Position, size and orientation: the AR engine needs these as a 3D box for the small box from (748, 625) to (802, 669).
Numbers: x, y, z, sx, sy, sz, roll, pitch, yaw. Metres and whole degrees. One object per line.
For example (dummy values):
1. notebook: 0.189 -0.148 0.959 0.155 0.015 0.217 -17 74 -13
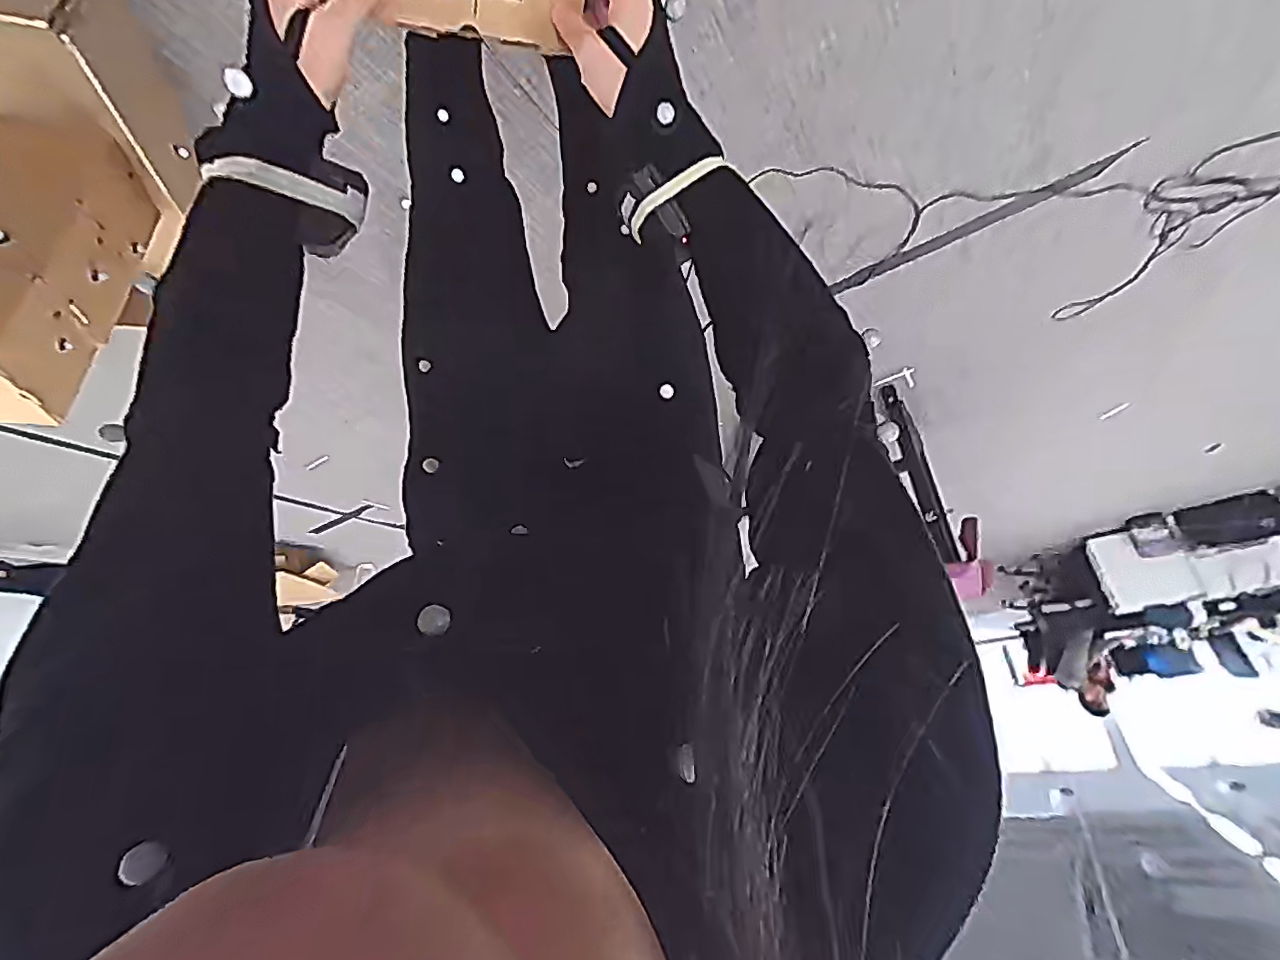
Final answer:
1. small box: 0.594 0.740 2.385 0.168 0.176 0.179 -21 151 28

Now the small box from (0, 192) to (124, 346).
1. small box: -1.001 -0.346 0.887 0.179 0.176 0.168 2 153 -17

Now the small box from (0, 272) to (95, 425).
1. small box: -0.992 -0.201 0.810 0.179 0.176 0.168 2 154 -16

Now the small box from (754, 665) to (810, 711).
1. small box: 0.608 0.890 2.324 0.168 0.176 0.179 -23 150 30

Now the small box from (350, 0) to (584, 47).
1. small box: -0.122 -0.445 0.366 0.168 0.176 0.179 -5 148 -19
